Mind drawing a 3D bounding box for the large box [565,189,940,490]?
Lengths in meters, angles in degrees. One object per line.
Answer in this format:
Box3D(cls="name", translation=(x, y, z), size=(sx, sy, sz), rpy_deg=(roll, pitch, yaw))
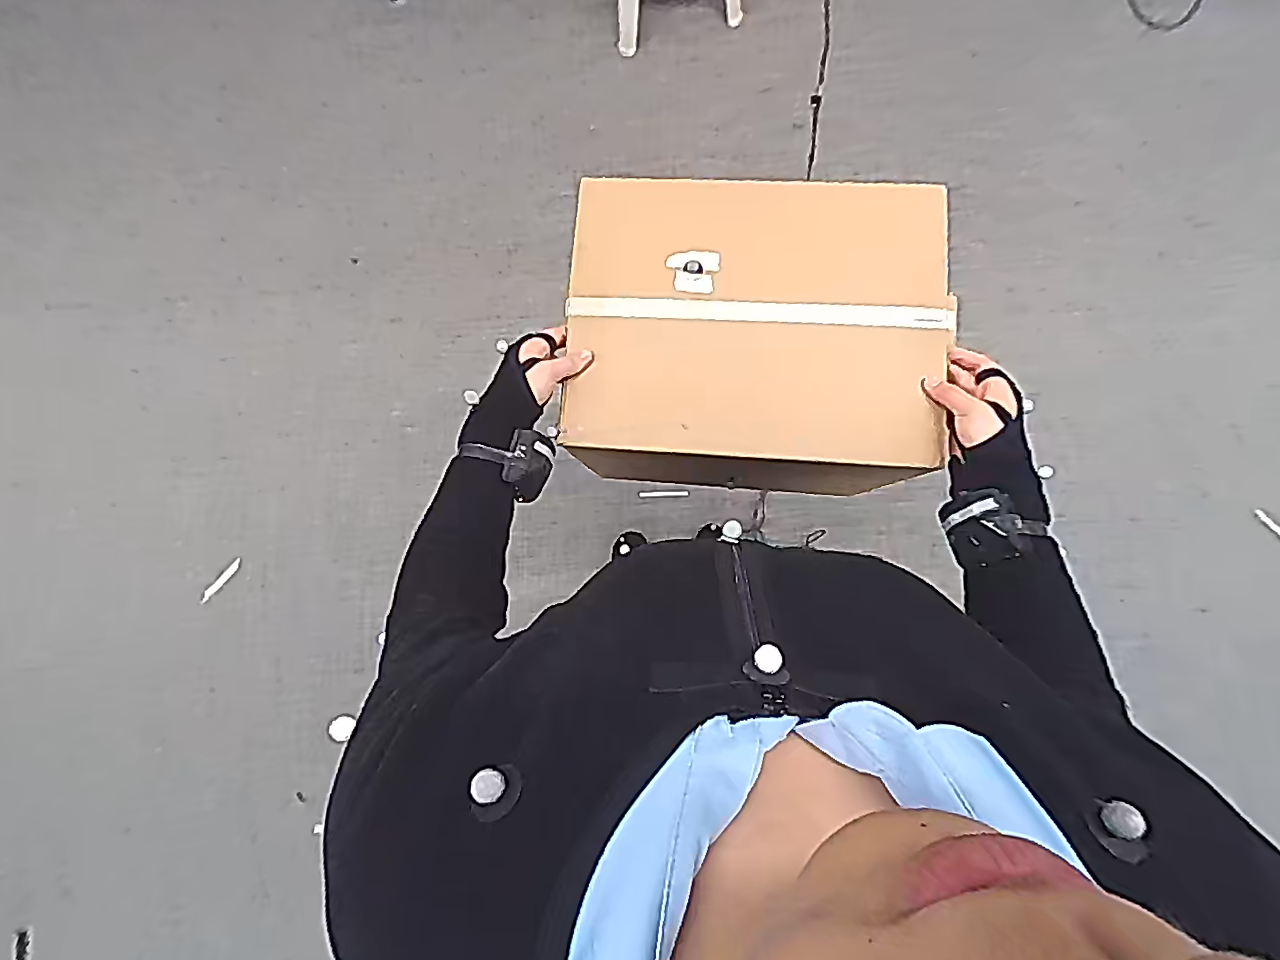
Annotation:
Box3D(cls="large box", translation=(0.138, -0.159, 0.743), size=(0.408, 0.320, 0.320), rpy_deg=(3, 82, 6))
